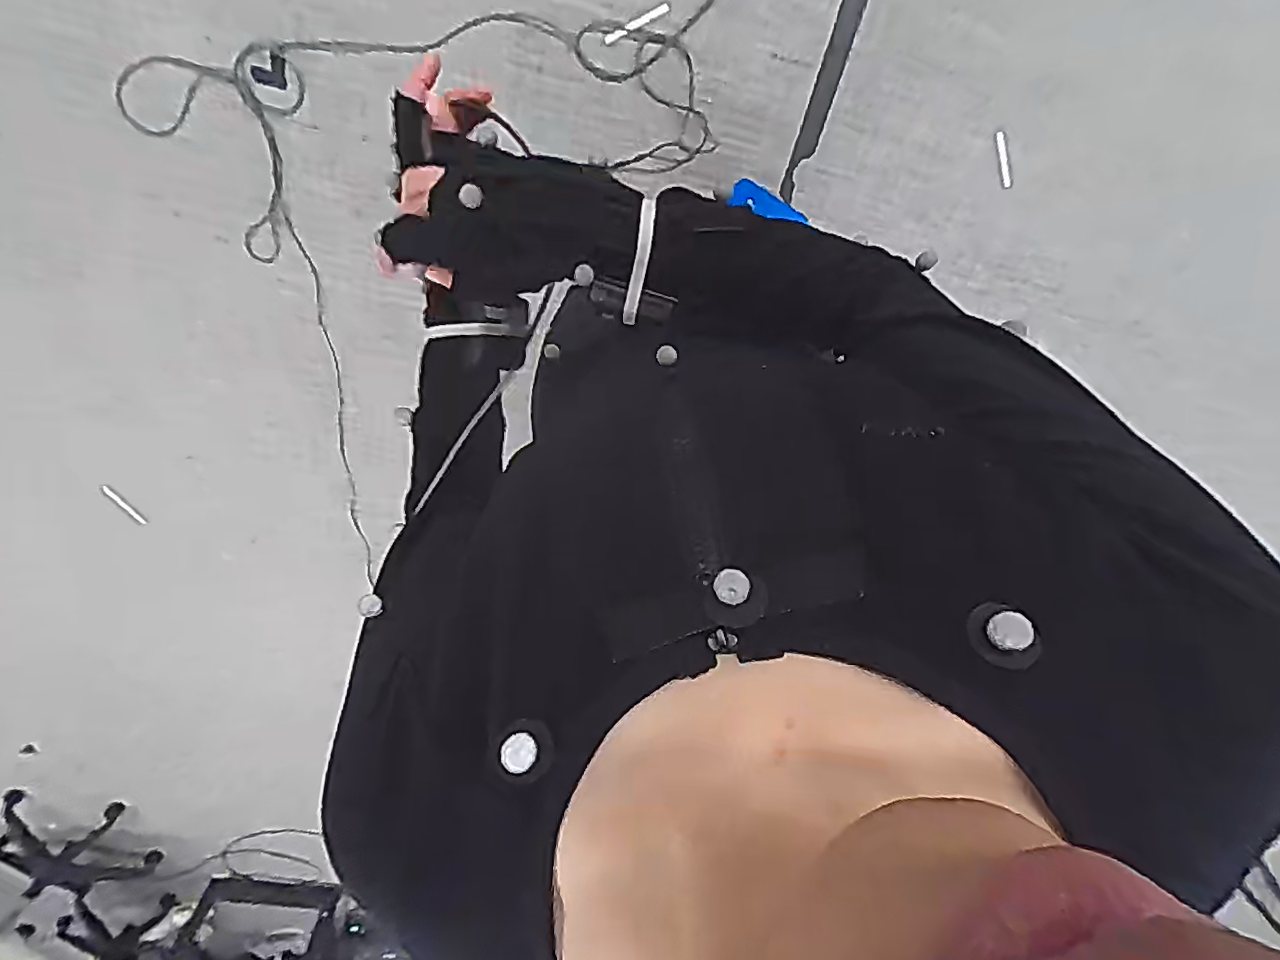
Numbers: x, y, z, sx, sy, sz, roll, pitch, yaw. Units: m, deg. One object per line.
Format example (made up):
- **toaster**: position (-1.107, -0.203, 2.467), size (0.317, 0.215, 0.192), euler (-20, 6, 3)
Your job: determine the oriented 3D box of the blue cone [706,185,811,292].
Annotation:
- **blue cone**: position (0.275, -0.489, 1.135), size (0.192, 0.380, 0.193), euler (26, 114, -16)
